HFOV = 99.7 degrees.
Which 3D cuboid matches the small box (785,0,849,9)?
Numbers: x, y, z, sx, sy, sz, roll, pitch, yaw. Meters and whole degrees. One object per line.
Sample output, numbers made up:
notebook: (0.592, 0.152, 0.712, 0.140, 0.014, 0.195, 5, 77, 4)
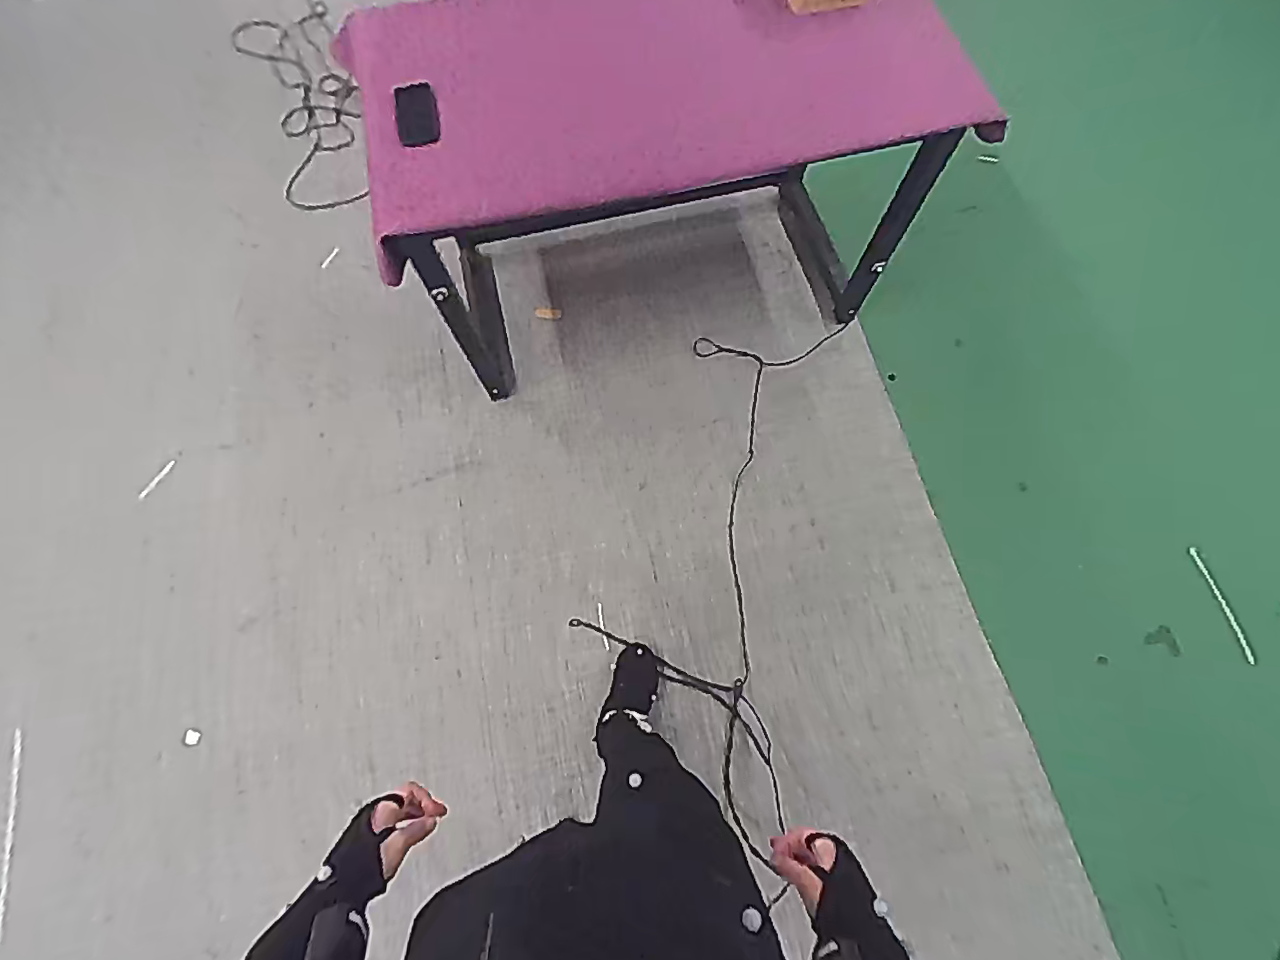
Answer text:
small box: (0.371, -1.110, 1.092, 0.168, 0.176, 0.179, -13, 72, -2)
